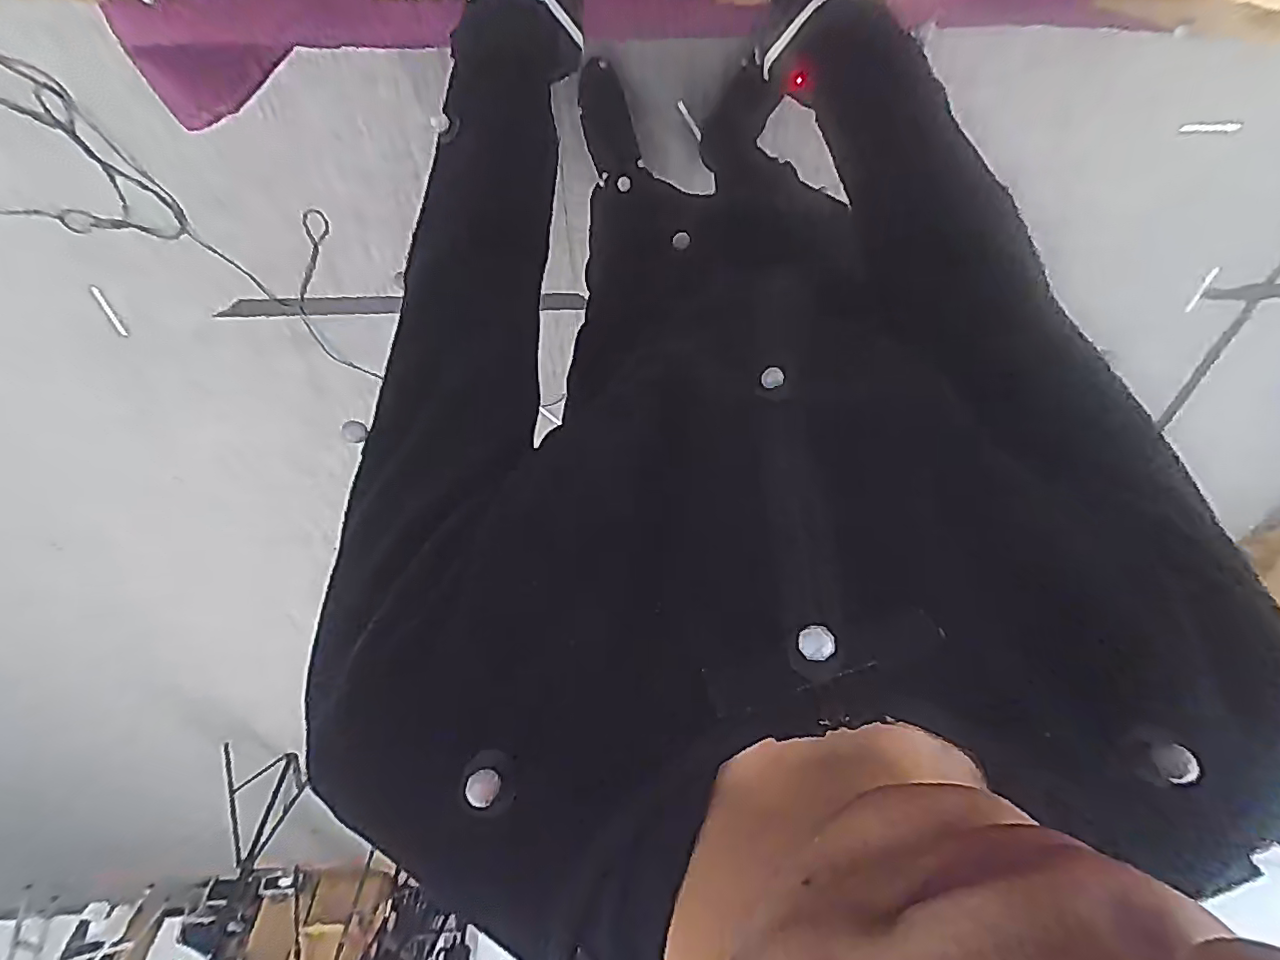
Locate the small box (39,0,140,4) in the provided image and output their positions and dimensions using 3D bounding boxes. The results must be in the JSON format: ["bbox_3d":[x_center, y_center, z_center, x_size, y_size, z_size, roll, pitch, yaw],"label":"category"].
[{"bbox_3d":[-0.471,-0.497,0.430,0.179,0.176,0.168,-7,131,0],"label":"small box"}]

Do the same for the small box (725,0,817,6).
[{"bbox_3d":[0.157,-0.521,0.455,0.168,0.176,0.179,-5,132,0],"label":"small box"}]
